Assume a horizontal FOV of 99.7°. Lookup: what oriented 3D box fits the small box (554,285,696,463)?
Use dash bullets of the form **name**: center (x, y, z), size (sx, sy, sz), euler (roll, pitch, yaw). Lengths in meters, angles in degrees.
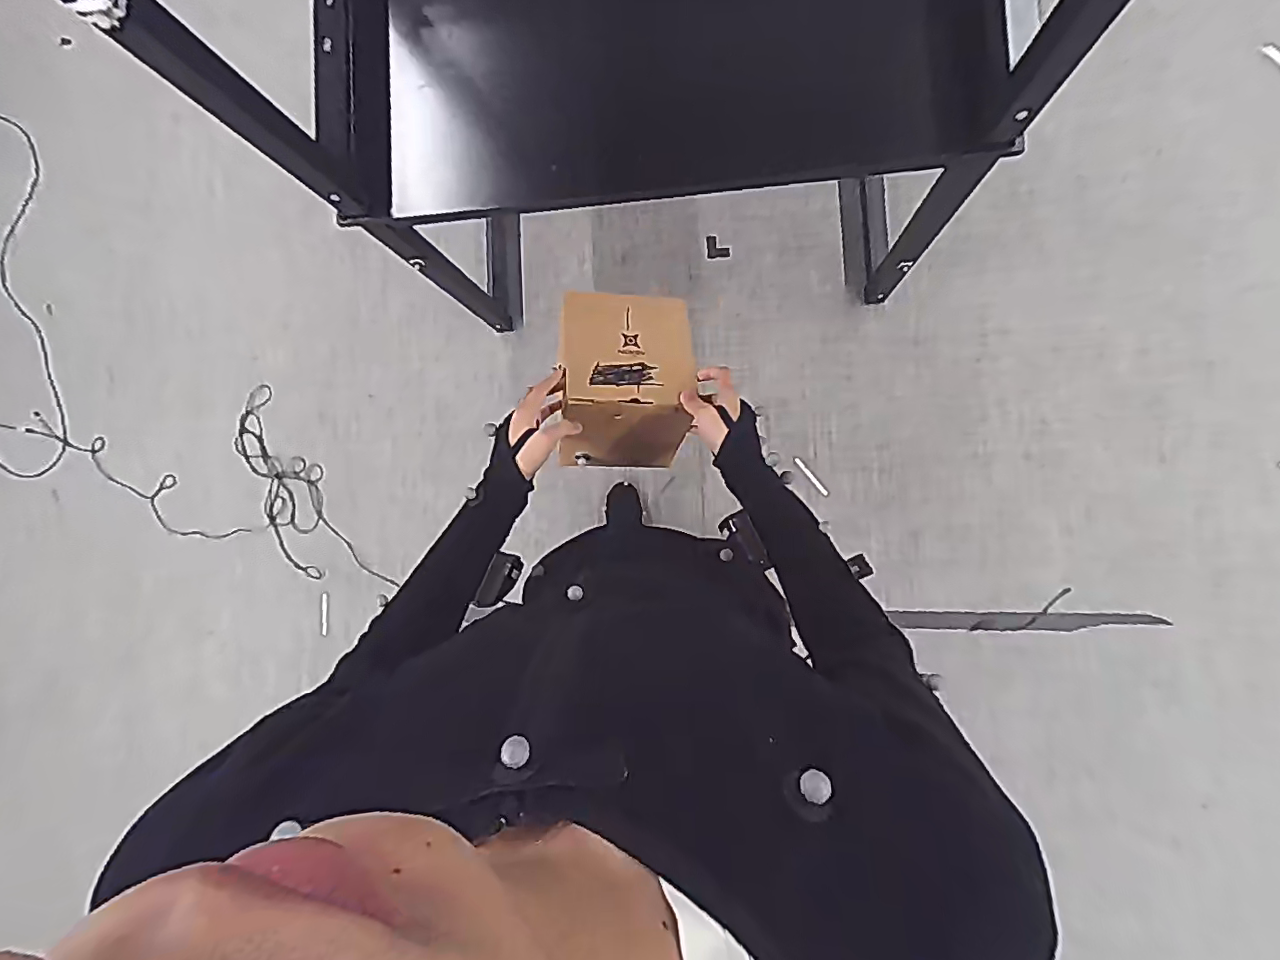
- **small box**: center (-0.030, -0.136, 0.745), size (0.168, 0.176, 0.179), euler (2, 63, -12)
